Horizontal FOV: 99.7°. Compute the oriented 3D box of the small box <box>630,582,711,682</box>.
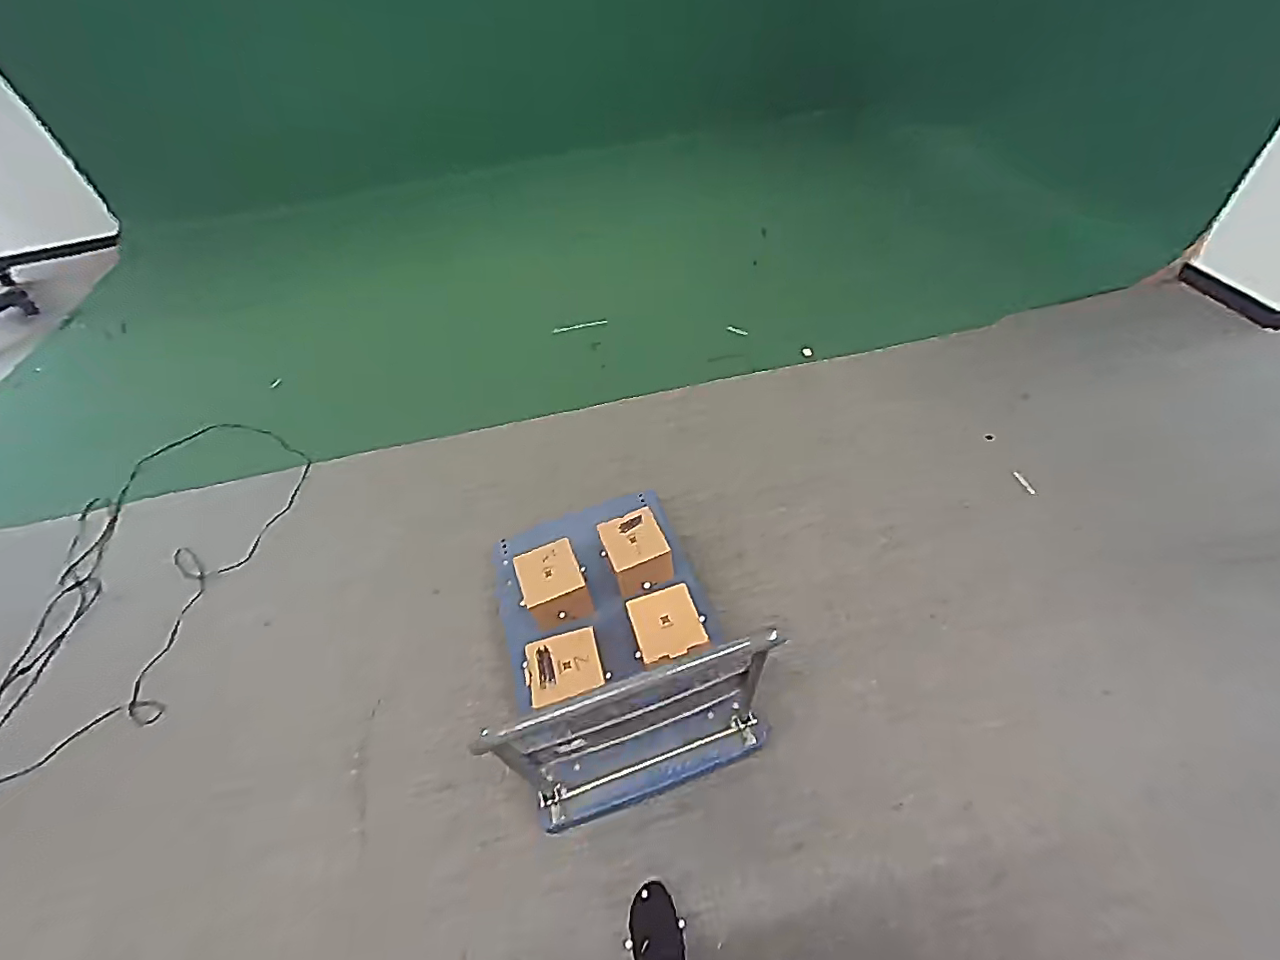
[{"bbox_3d":[0.080,0.406,1.440,0.168,0.176,0.179,-17,50,-7],"label":"small box"}]

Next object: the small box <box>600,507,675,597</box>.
[{"bbox_3d":[-0.006,0.216,1.611,0.168,0.176,0.179,-21,51,-9],"label":"small box"}]

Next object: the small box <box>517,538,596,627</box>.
[{"bbox_3d":[-0.238,0.305,1.568,0.168,0.176,0.179,-20,50,-10],"label":"small box"}]
